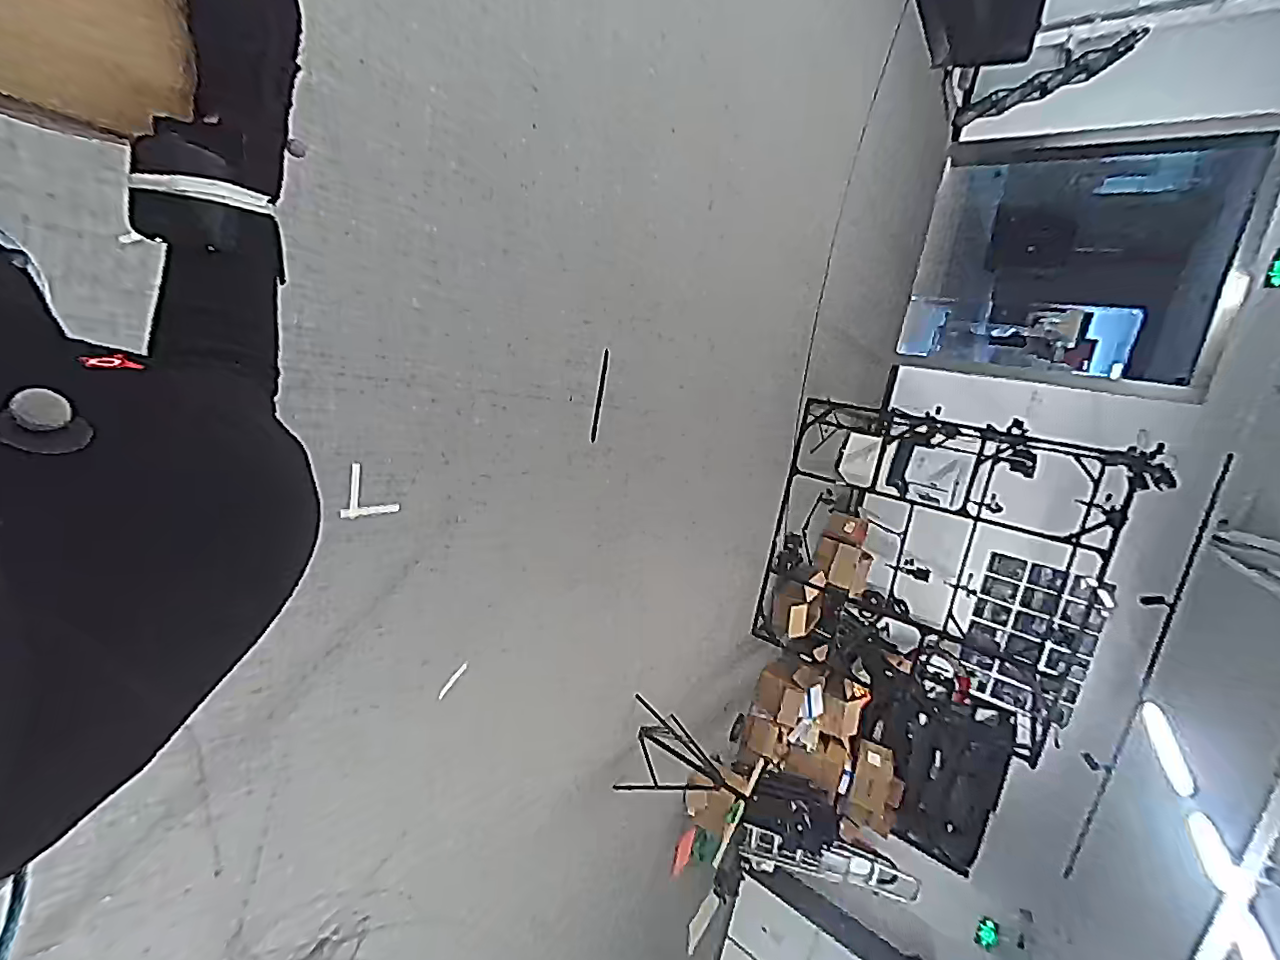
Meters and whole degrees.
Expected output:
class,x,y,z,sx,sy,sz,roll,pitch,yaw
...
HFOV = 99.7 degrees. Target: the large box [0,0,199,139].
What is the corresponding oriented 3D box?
class,x,y,z,sx,sy,sz,roll,pitch,yaw
large box,-0.512,-0.422,0.259,0.408,0.320,0.320,-8,120,-57
